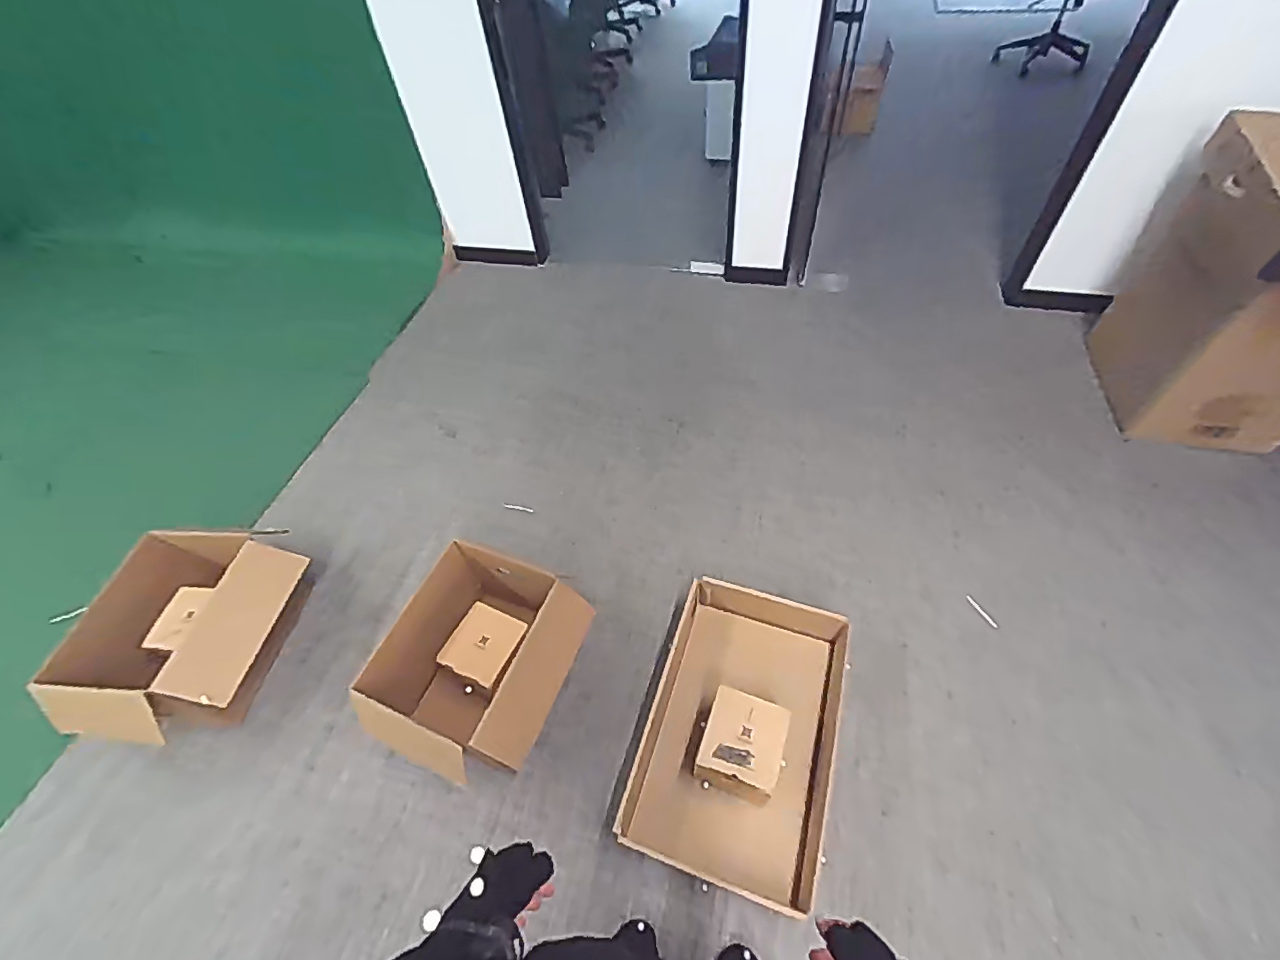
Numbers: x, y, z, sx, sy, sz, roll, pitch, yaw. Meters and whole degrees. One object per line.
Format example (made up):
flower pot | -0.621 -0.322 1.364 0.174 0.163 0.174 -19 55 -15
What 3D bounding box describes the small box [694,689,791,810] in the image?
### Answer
small box | 0.225 0.602 1.202 0.168 0.176 0.179 16 53 16
